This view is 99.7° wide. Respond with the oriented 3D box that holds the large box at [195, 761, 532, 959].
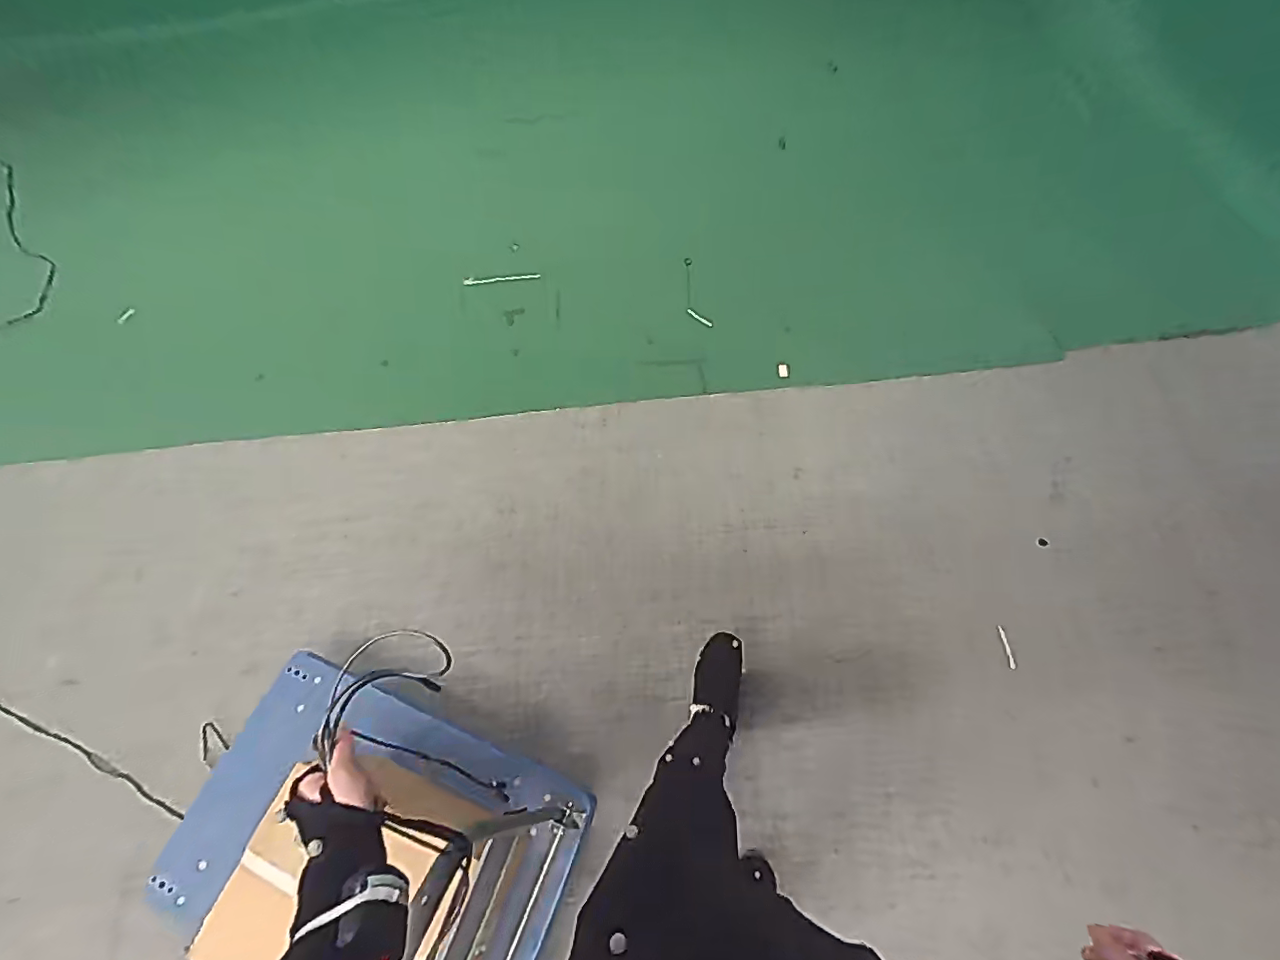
[{"bbox_3d":[-0.480,0.777,1.028,0.408,0.320,0.320,17,67,15],"label":"large box"}]
